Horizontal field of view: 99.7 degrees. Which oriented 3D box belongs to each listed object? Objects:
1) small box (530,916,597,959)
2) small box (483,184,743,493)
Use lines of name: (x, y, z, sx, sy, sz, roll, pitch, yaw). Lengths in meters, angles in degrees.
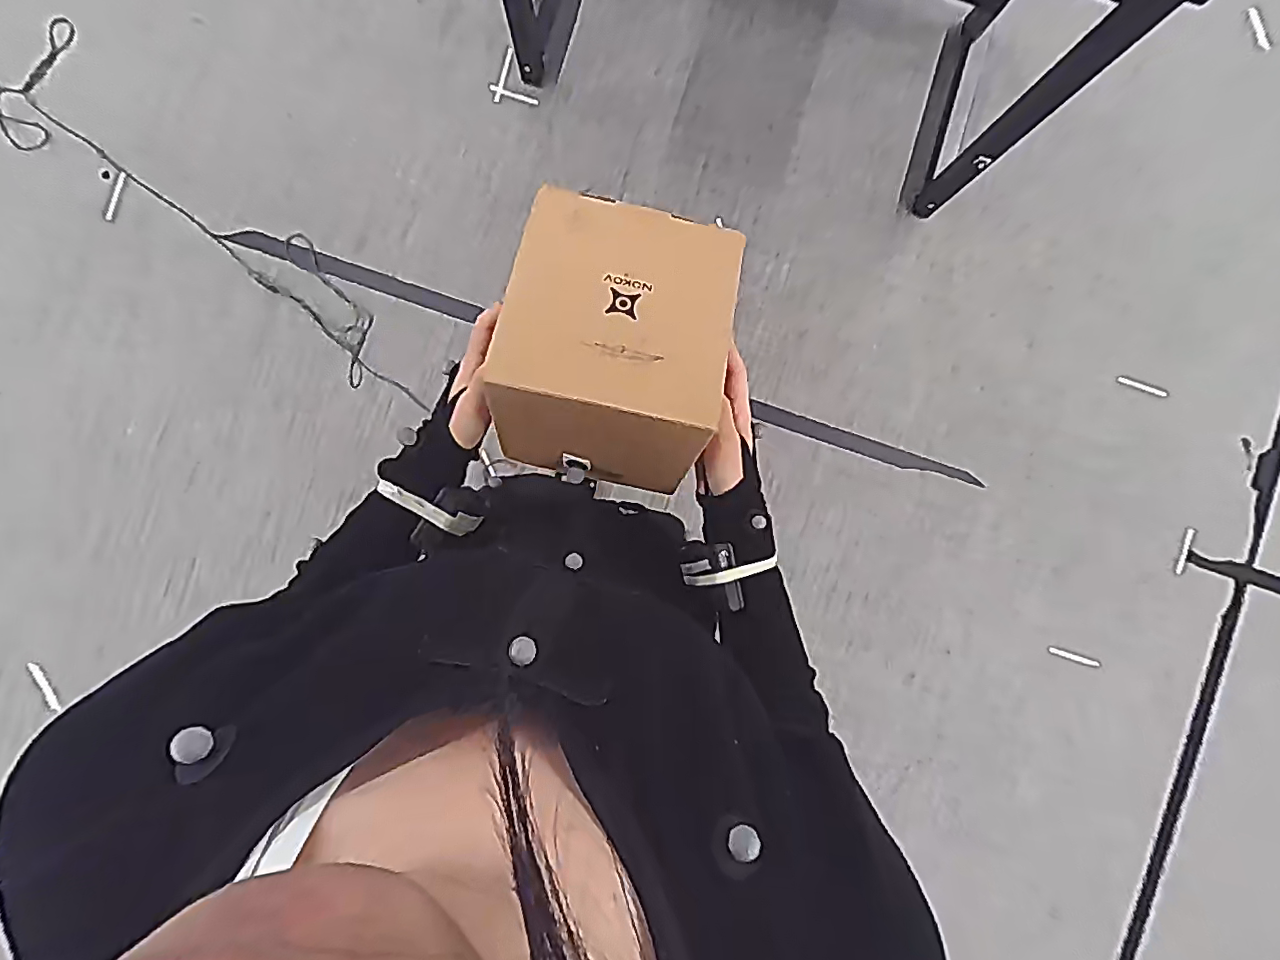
small box: (-0.205, 1.300, 1.430, 0.179, 0.176, 0.168, 5, 90, -4)
small box: (-0.023, -0.105, 0.465, 0.168, 0.176, 0.179, 11, 72, -4)
